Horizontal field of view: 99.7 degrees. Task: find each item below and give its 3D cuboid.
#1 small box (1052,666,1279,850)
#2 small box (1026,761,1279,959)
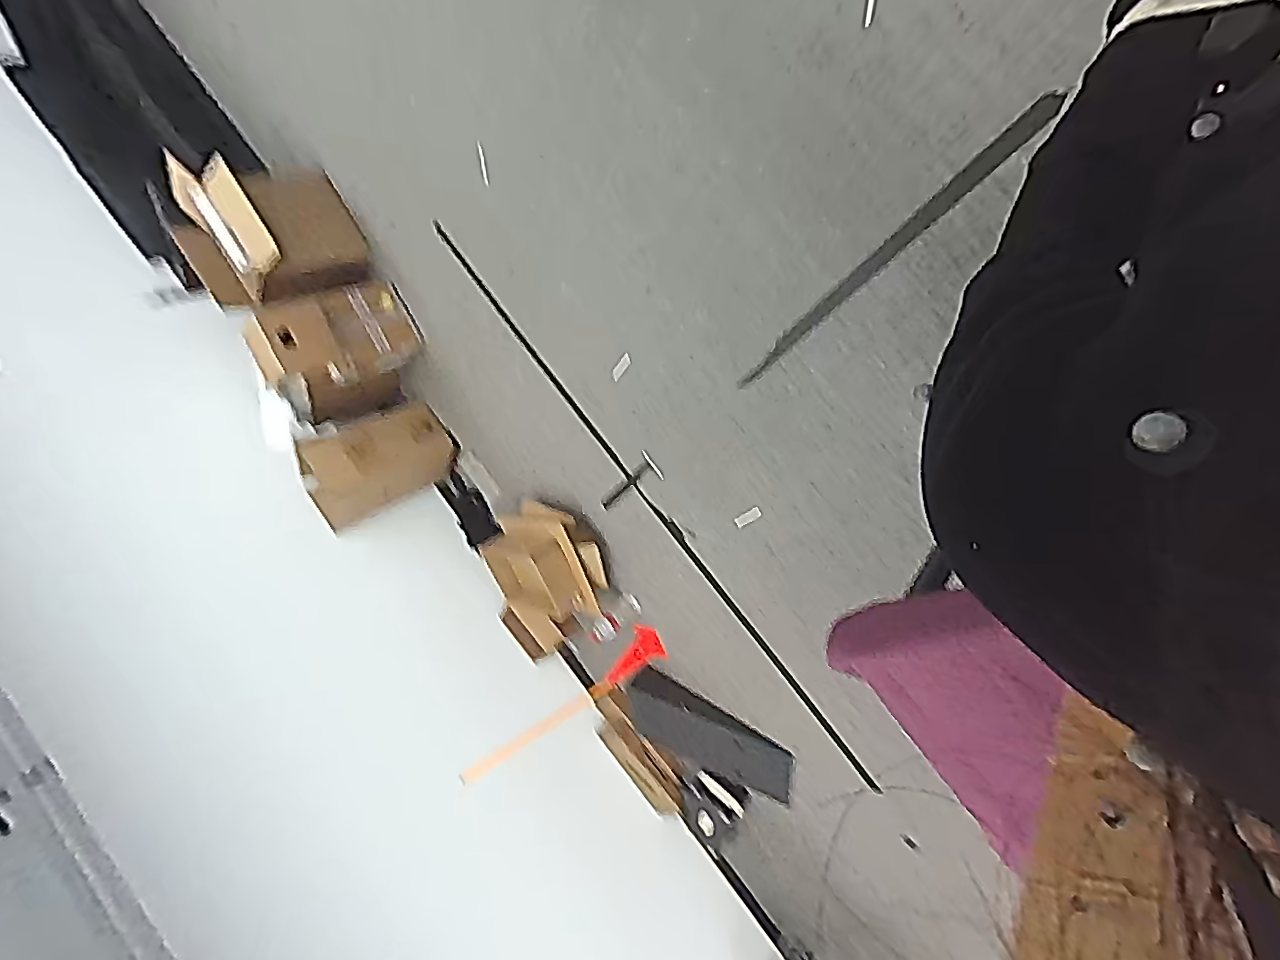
[{"bbox_3d":[0.675,0.356,0.687,0.179,0.176,0.168,52,143,3],"label":"small box"},{"bbox_3d":[0.571,0.436,0.588,0.179,0.176,0.168,53,143,3],"label":"small box"}]
